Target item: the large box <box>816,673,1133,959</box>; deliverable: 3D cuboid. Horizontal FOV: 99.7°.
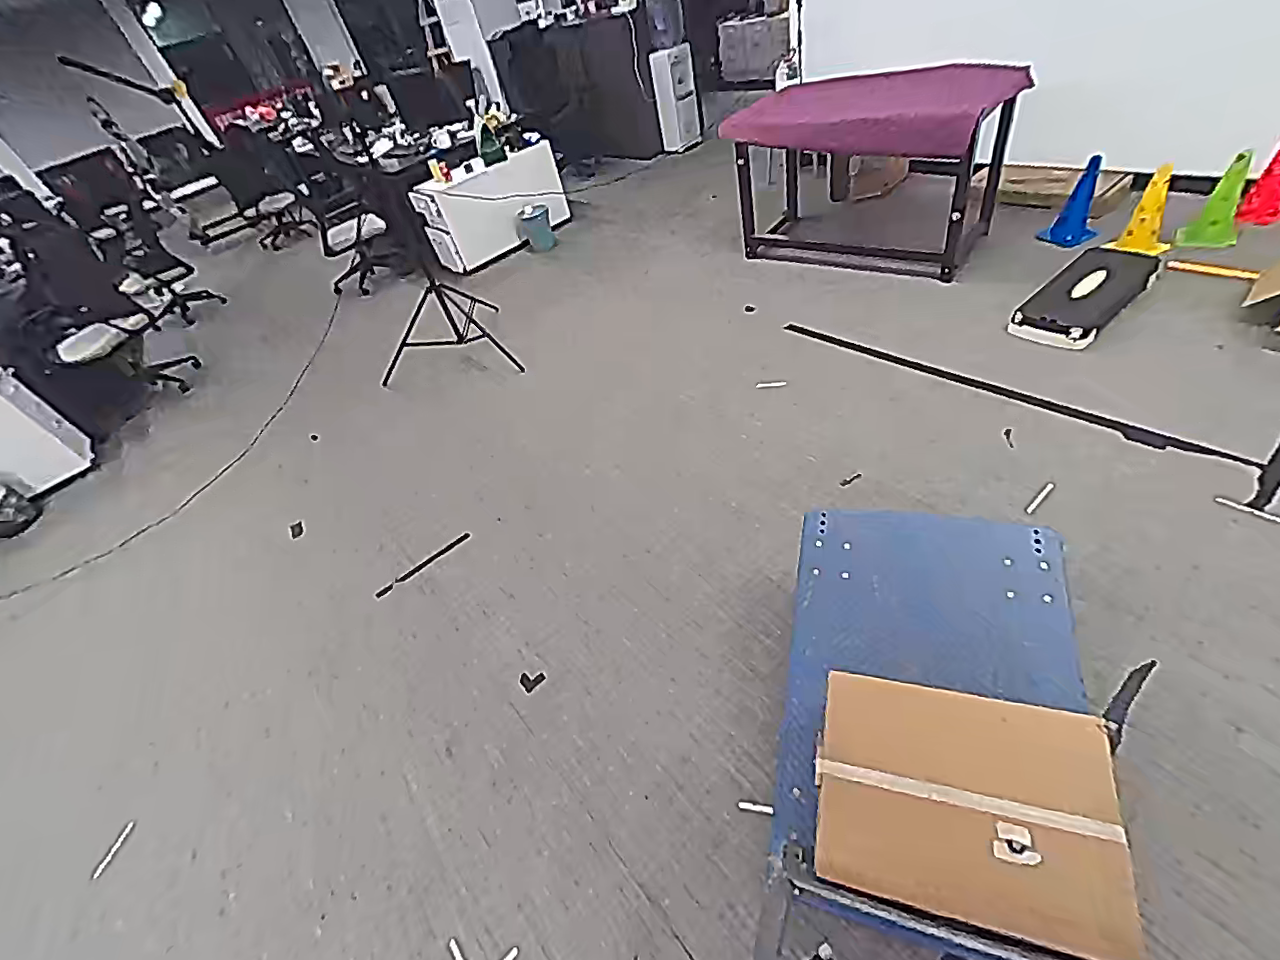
[{"bbox_3d":[0.532,0.568,0.964,0.408,0.320,0.320,4,60,20],"label":"large box"}]
